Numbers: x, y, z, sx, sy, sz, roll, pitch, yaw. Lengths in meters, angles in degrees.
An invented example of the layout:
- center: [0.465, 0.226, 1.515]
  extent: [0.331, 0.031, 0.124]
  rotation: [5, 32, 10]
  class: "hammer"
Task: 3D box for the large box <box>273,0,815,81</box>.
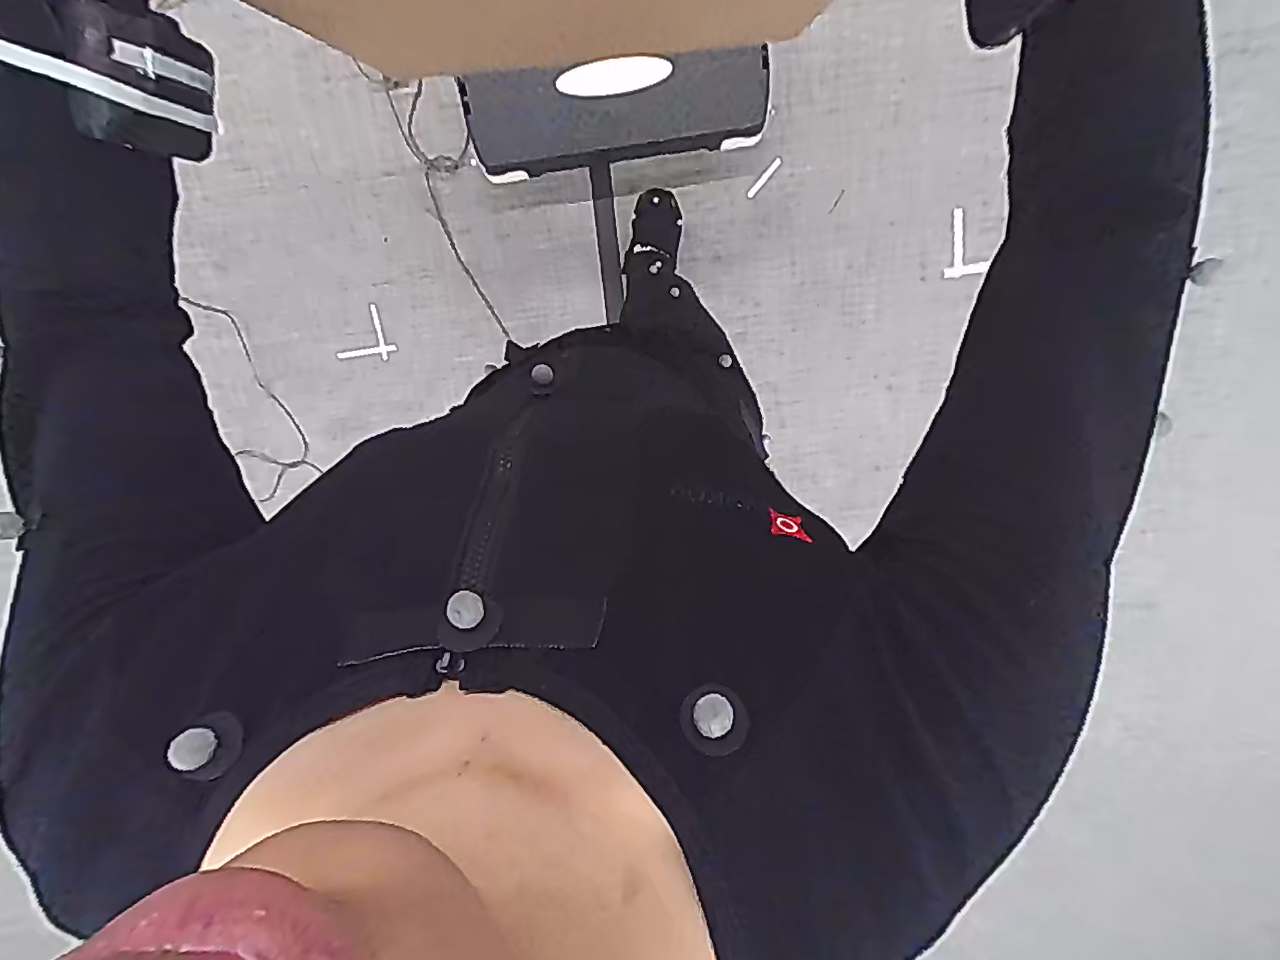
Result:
- center: [-0.059, -0.490, 0.339]
  extent: [0.408, 0.320, 0.320]
  rotation: [-5, 117, 2]
  class: "large box"
